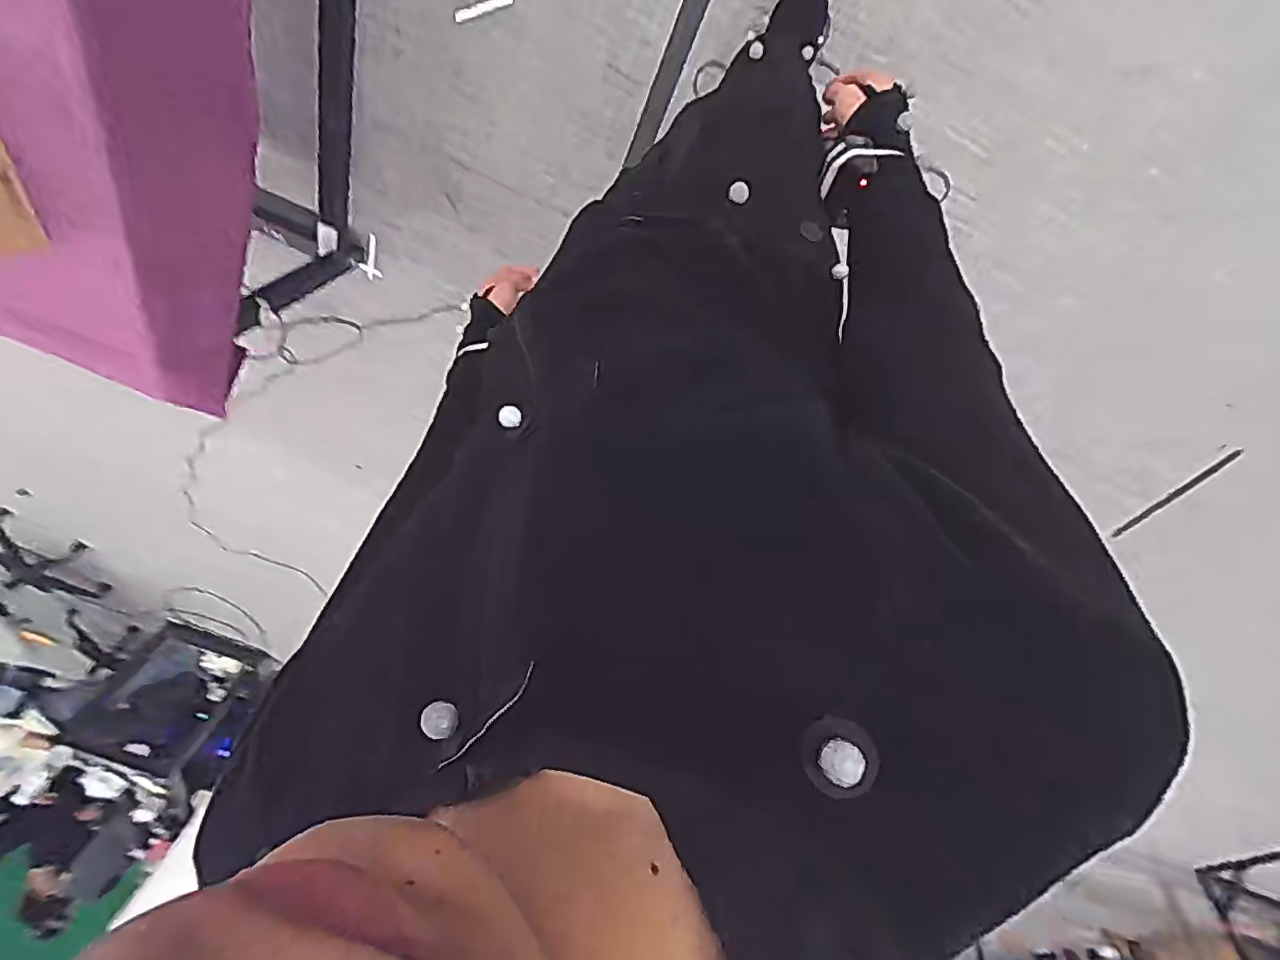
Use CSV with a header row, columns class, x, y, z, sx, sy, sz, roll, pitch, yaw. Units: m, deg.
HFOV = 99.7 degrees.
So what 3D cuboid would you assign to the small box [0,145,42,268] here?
class,x,y,z,sx,sy,sz,roll,pitch,yaw
small box,-1.007,-0.395,0.747,0.179,0.176,0.168,17,130,-2
